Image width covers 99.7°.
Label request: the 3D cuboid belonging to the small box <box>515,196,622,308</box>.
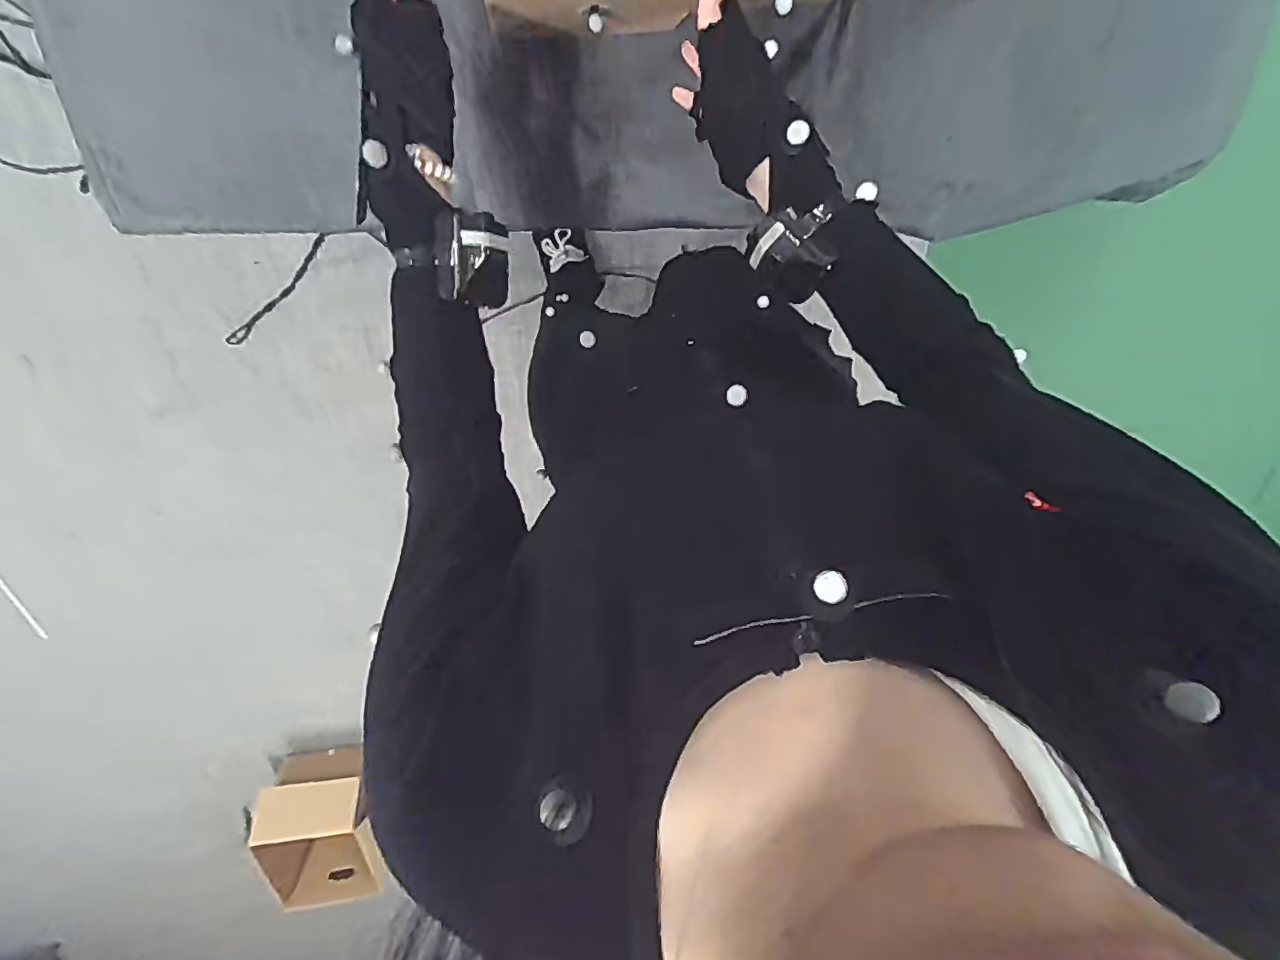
[{"bbox_3d":[-0.164,-0.515,1.218,0.179,0.176,0.168,28,123,-4],"label":"small box"}]
